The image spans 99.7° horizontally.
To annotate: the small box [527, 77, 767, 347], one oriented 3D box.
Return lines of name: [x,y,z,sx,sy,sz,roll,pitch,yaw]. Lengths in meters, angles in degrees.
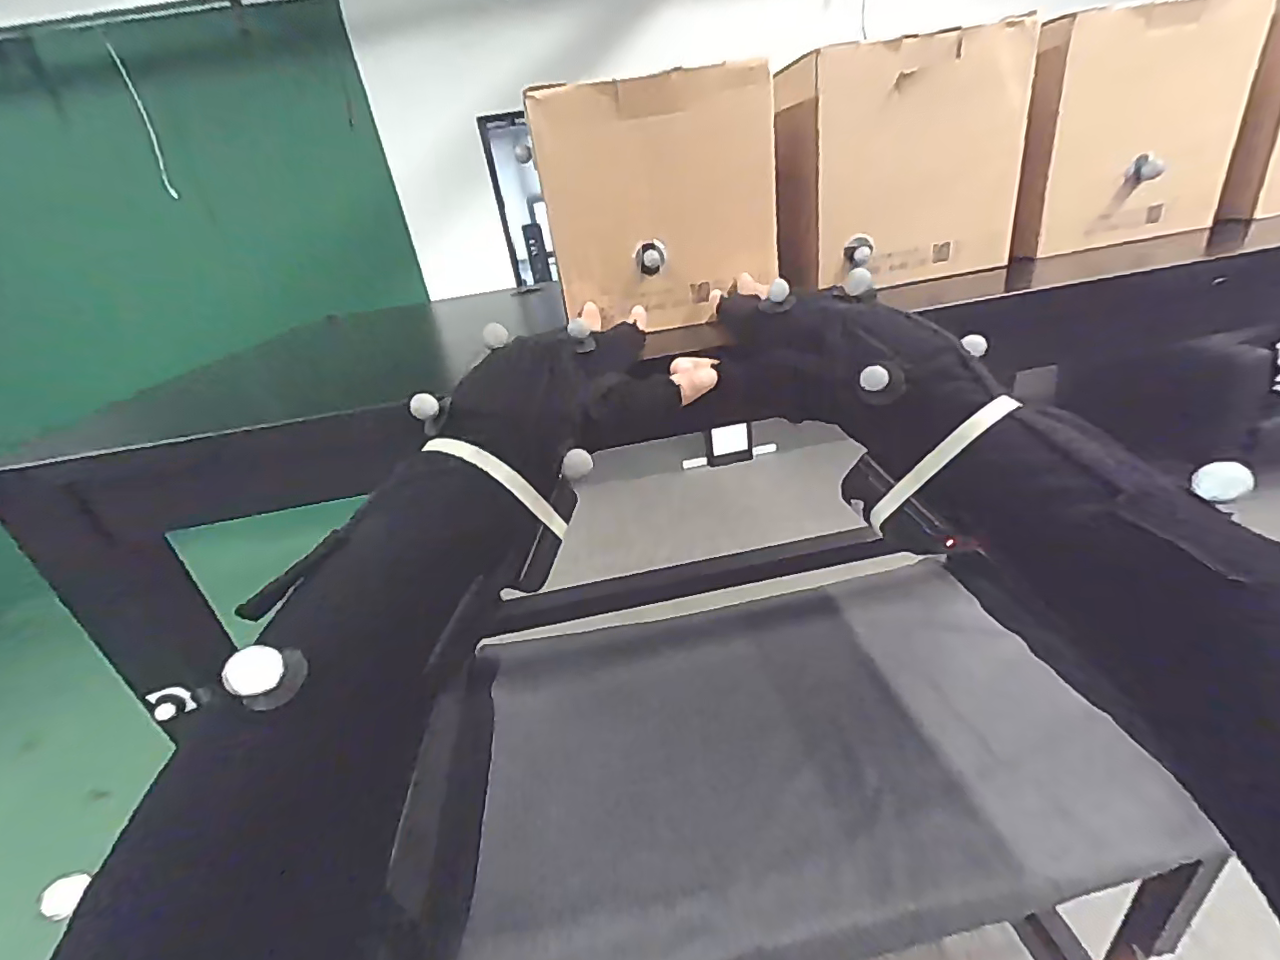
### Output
small box: [0.005,-0.221,0.472,0.168,0.176,0.179,-10,26,-3]
